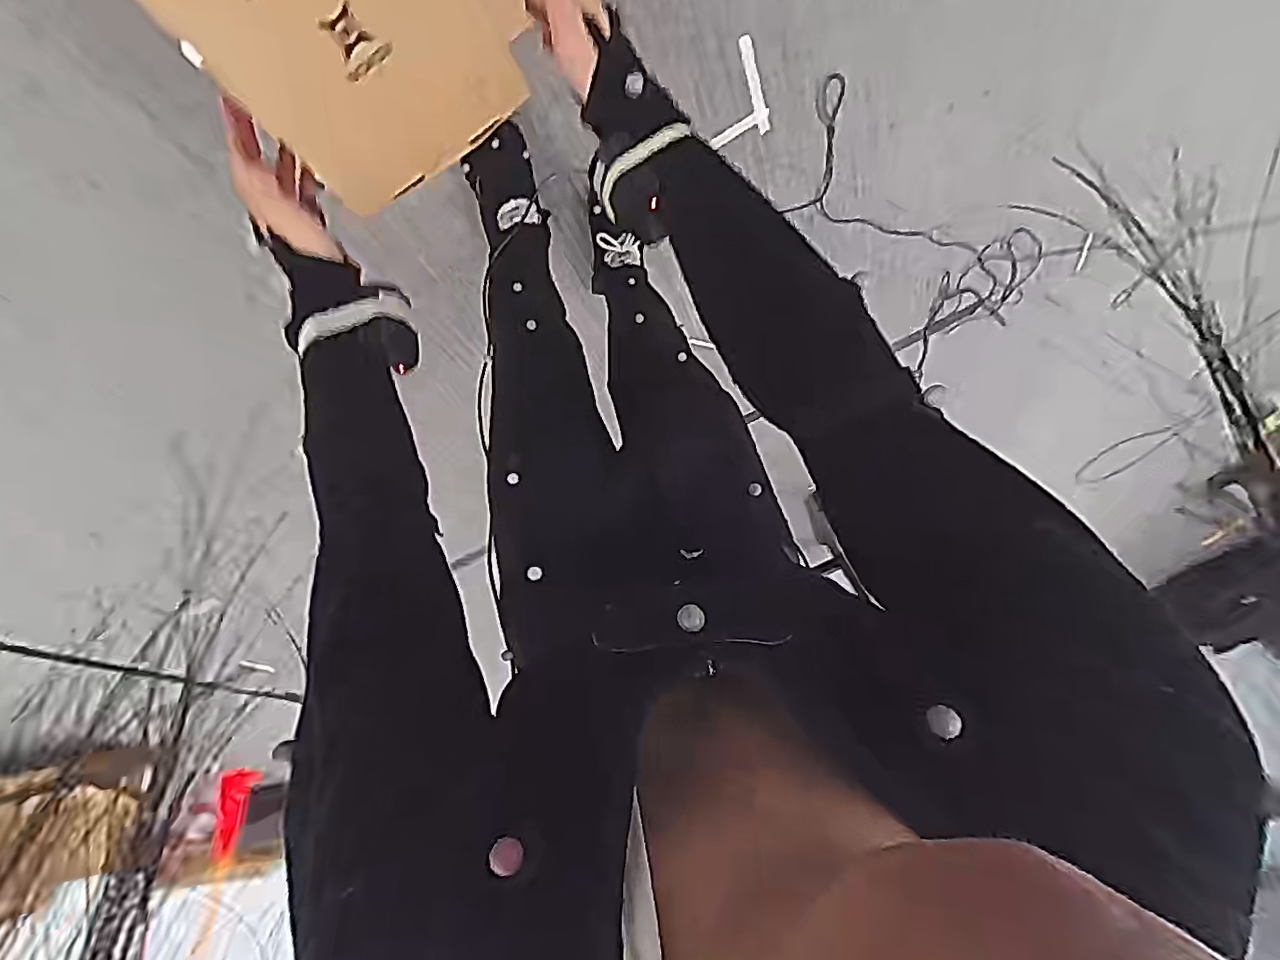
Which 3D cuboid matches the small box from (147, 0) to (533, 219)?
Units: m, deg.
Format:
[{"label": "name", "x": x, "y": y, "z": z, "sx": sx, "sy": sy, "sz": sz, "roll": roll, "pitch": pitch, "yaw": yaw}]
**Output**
[{"label": "small box", "x": -0.205, "y": -0.340, "z": 0.389, "sx": 0.168, "sy": 0.176, "sz": 0.179, "roll": -31, "pitch": 143, "yaw": 10}]
